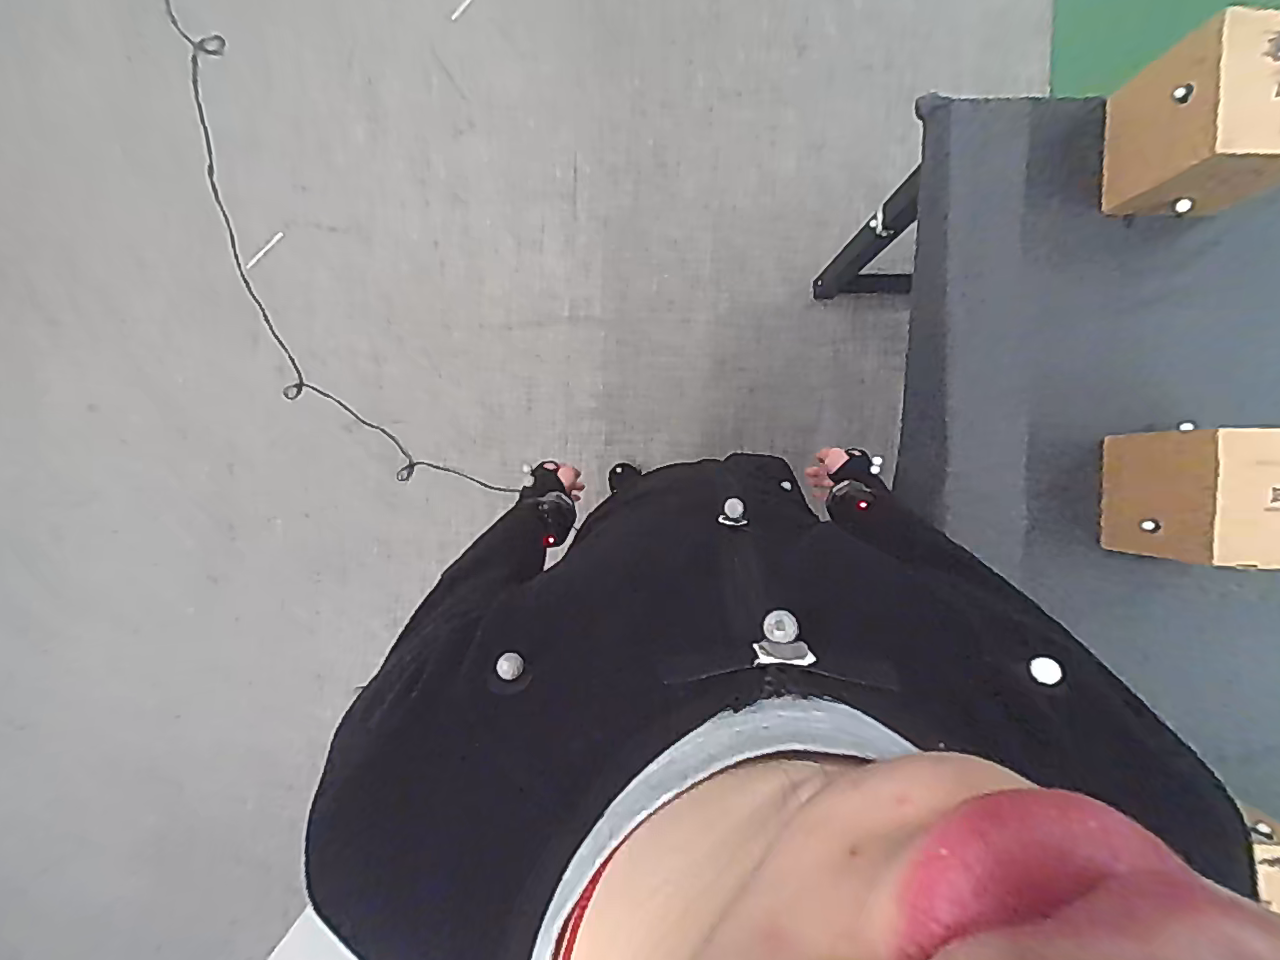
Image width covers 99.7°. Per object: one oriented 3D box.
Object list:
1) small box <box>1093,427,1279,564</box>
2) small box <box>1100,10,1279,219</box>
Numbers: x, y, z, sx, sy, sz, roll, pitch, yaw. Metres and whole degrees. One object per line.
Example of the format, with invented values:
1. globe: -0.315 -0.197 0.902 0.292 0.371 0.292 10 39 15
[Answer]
1. small box: 0.791 0.018 0.767 0.168 0.176 0.179 0 91 -2
2. small box: 0.784 -0.487 0.743 0.168 0.176 0.179 1 94 -1
